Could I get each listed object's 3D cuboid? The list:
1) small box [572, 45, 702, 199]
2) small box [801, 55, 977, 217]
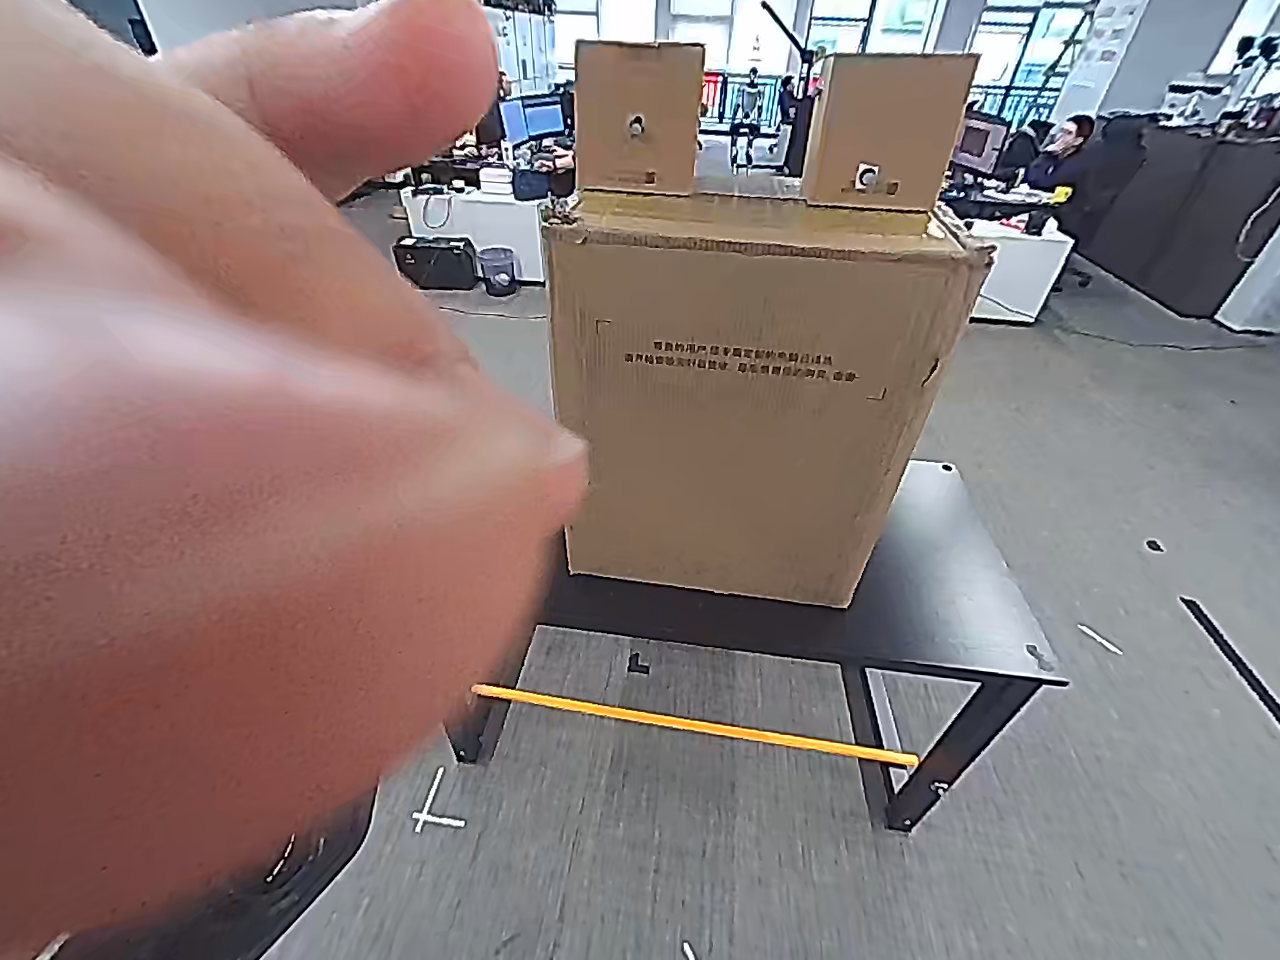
[{"bbox_3d":[-0.001,-0.516,0.779,0.168,0.176,0.179,4,38,1],"label":"small box"},{"bbox_3d":[0.322,-0.475,0.745,0.168,0.176,0.179,6,38,8],"label":"small box"}]
